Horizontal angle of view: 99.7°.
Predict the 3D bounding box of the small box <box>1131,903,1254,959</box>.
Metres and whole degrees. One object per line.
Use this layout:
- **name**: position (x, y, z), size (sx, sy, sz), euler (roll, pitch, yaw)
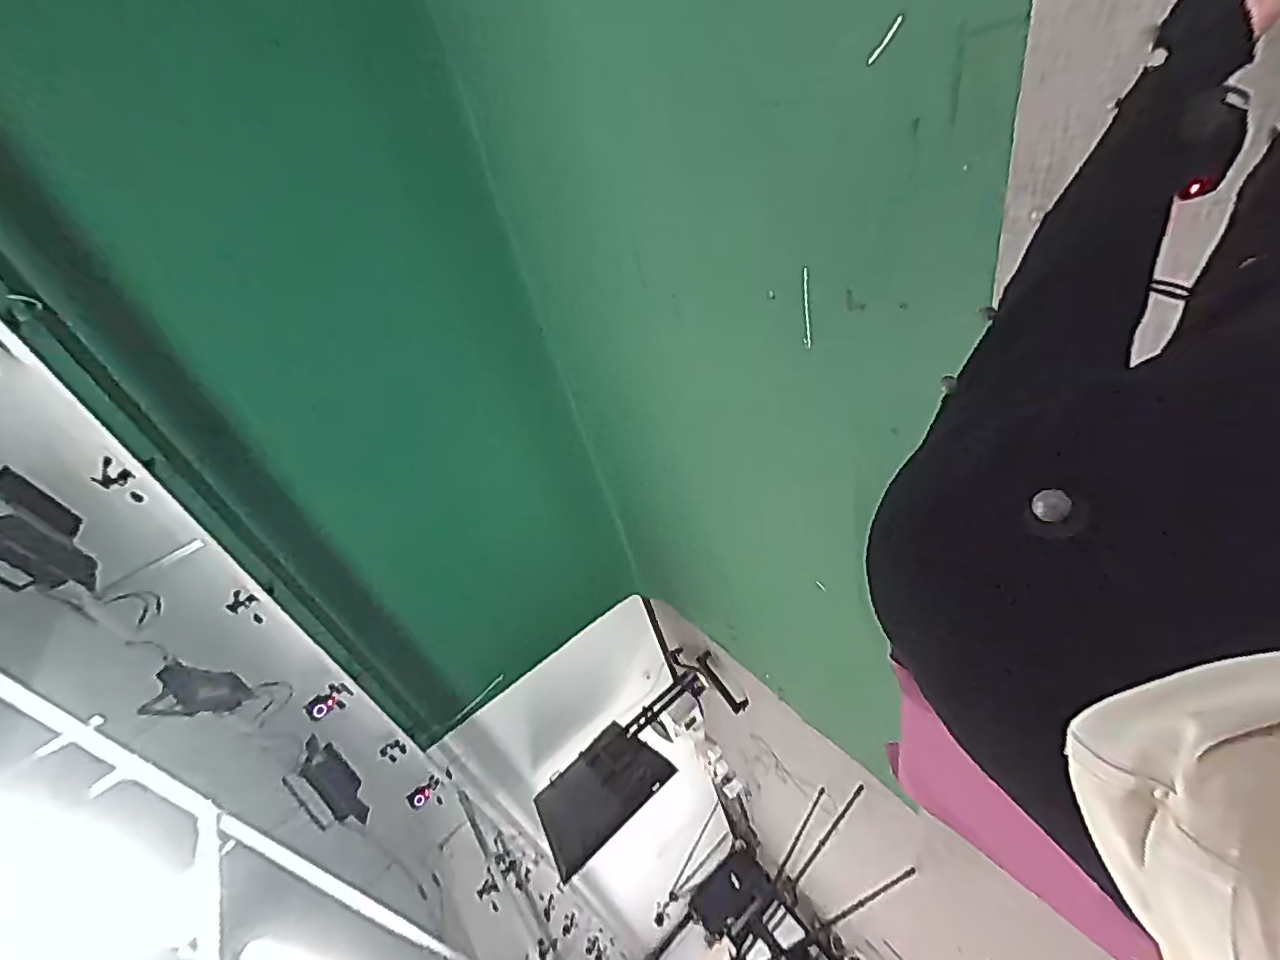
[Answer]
- **small box**: position (1.202, 1.084, 1.177), size (0.168, 0.176, 0.179), euler (28, 145, 49)
